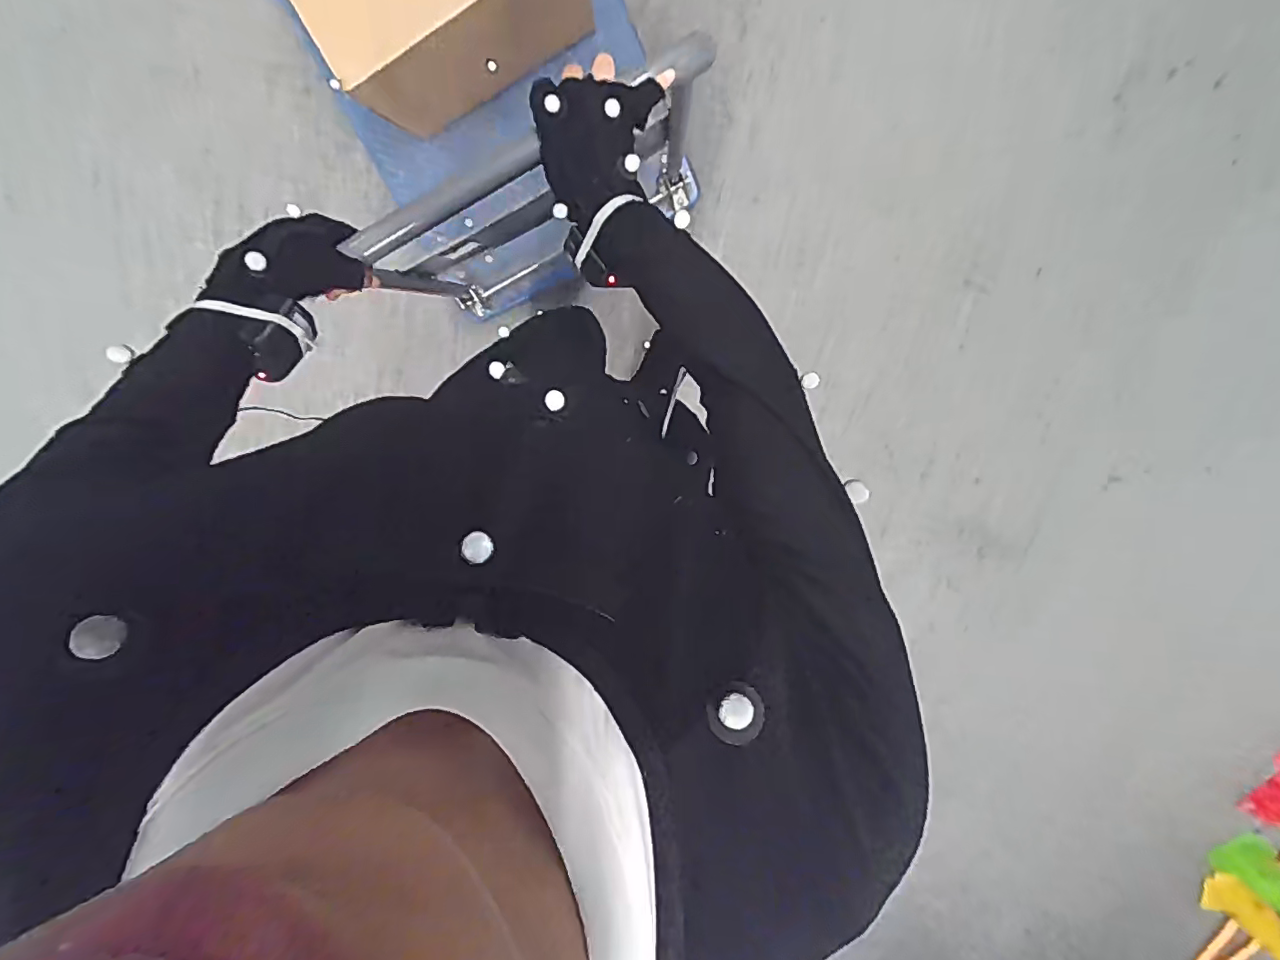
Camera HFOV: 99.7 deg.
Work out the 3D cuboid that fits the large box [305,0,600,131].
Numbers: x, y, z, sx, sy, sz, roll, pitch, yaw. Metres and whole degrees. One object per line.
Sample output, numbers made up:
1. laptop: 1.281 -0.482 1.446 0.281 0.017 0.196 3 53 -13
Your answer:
1. large box: -0.319 -0.855 0.869 0.408 0.320 0.320 -27 108 10
